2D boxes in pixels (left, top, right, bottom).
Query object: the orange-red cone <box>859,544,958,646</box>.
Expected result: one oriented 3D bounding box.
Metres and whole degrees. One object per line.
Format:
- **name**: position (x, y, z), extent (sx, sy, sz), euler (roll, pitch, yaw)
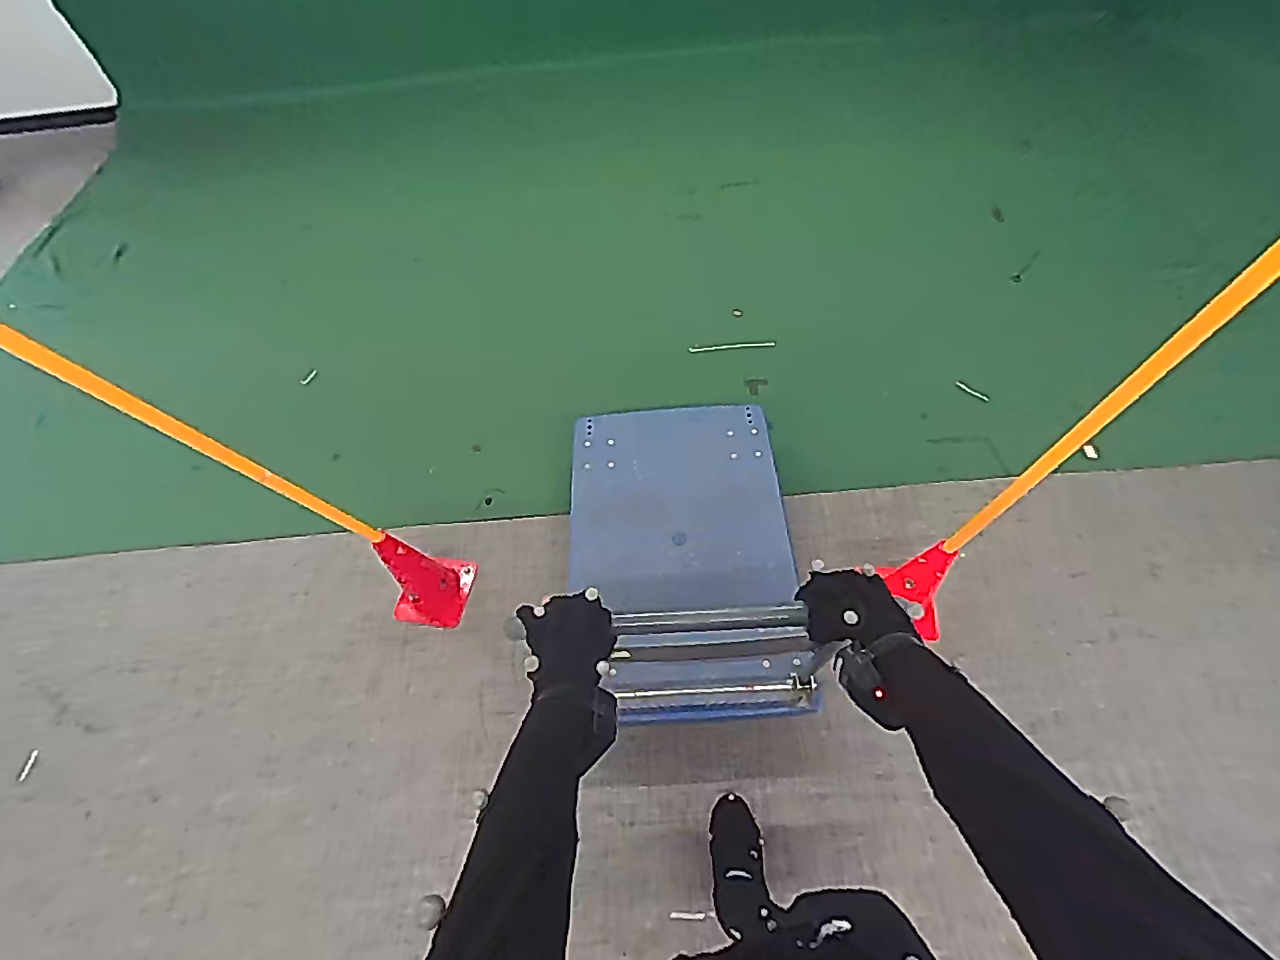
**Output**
- **orange-red cone**: position (0.683, 0.250, 1.312), extent (0.198, 0.360, 0.199), euler (4, 59, 8)
